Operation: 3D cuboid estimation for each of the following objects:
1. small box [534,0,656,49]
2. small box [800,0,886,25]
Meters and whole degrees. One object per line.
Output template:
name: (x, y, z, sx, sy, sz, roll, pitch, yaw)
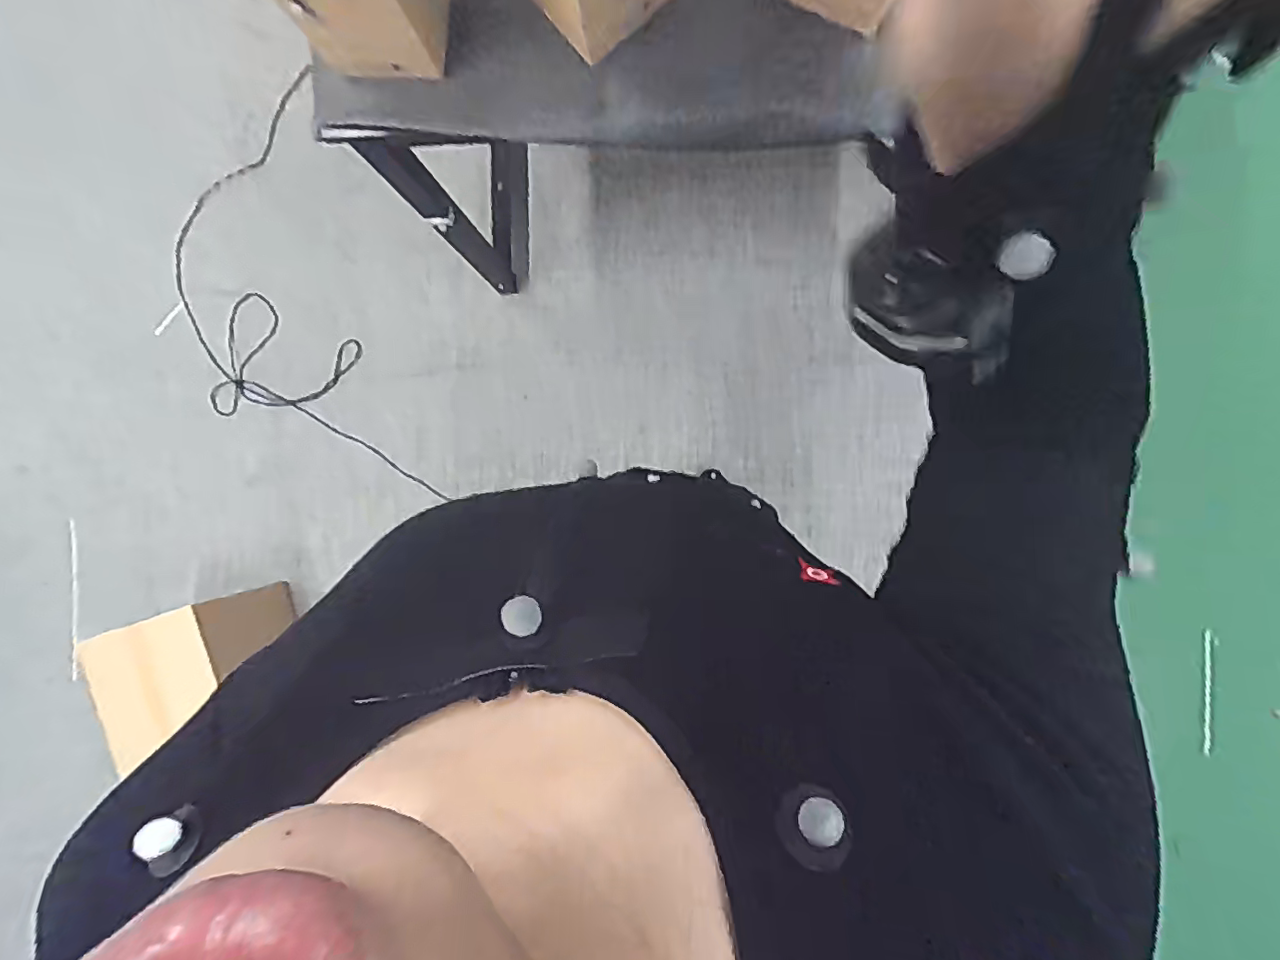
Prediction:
small box: (-0.071, -0.706, 0.686, 0.168, 0.176, 0.179, -40, 87, 2)
small box: (0.272, -0.720, 0.662, 0.179, 0.176, 0.168, 29, 92, 5)
